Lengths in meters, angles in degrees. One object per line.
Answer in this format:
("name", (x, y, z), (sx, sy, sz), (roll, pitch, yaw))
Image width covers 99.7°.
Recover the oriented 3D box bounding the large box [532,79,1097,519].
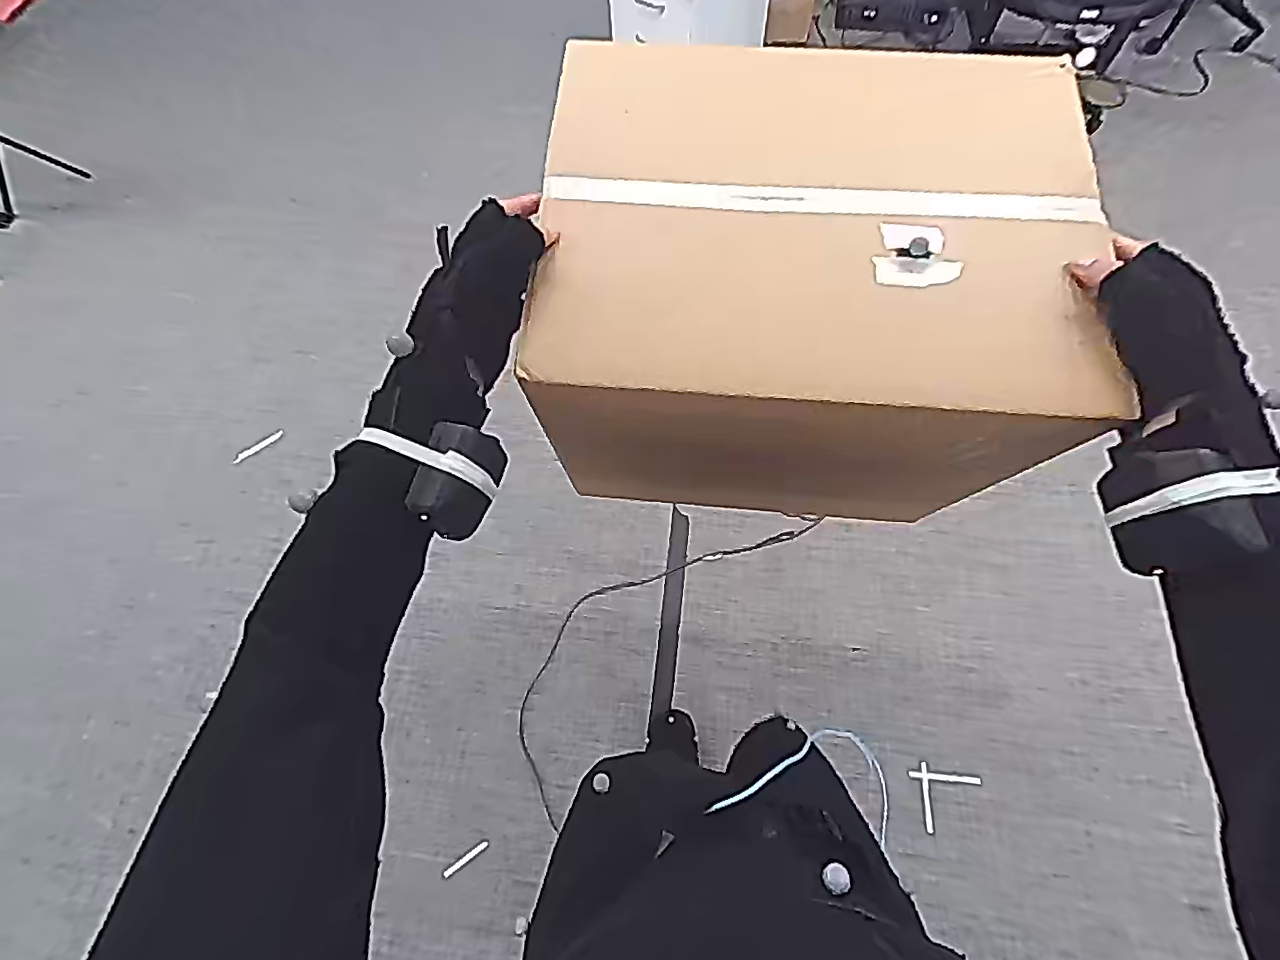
("large box", (0.130, -0.150, 0.563), (0.408, 0.320, 0.320), (4, 74, 2))
